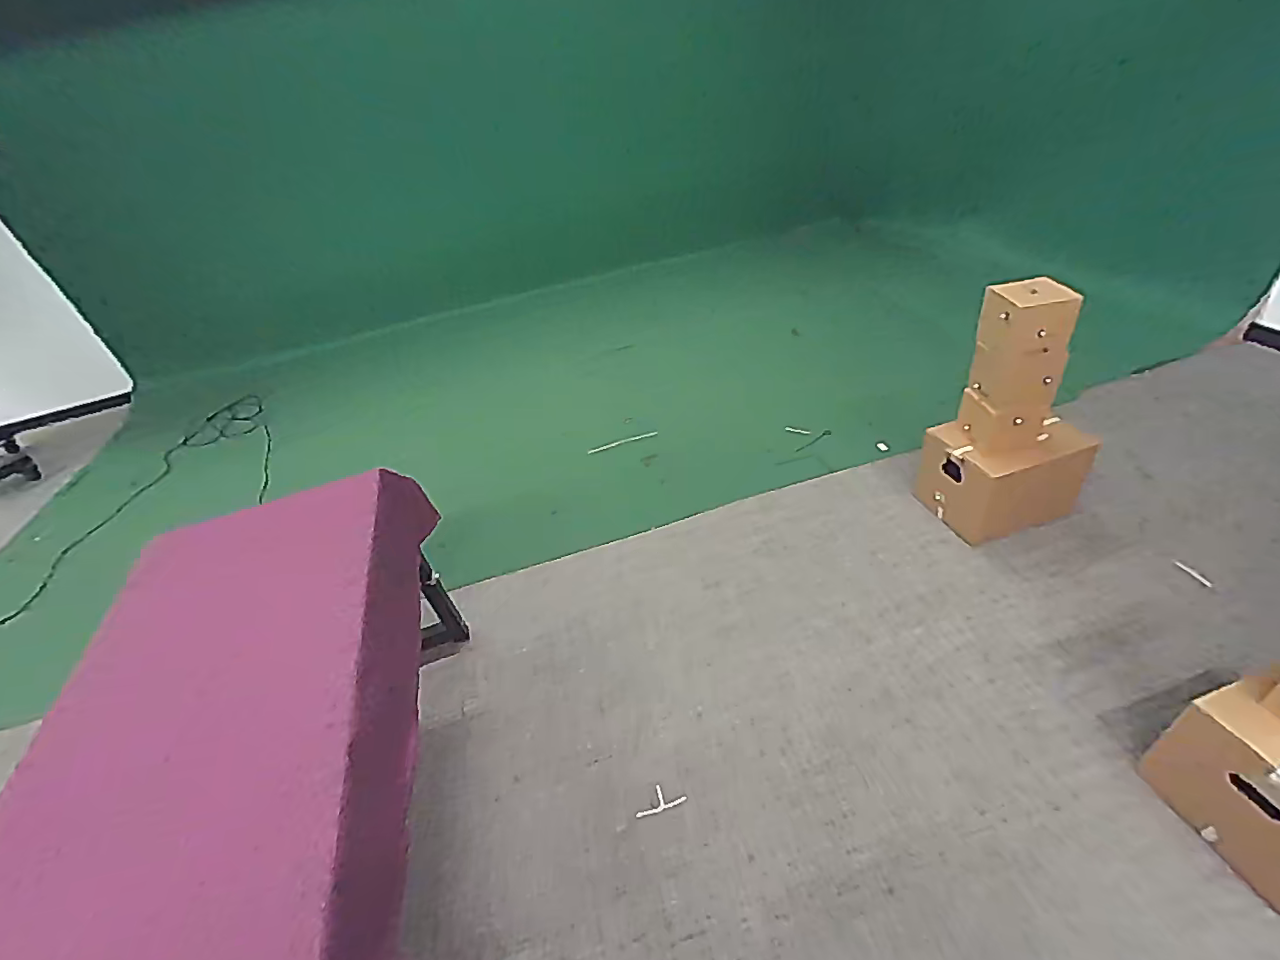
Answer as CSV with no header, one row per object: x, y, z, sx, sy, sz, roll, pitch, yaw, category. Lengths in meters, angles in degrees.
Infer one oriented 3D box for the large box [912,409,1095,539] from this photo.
1.257,-0.047,1.914,0.408,0.320,0.320,-17,39,-7,large box

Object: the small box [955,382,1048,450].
1.167,-0.220,1.761,0.179,0.176,0.168,-11,38,2,small box

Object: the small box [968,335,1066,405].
1.149,-0.350,1.665,0.179,0.176,0.168,-9,38,5,small box

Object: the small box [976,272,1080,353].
1.116,-0.480,1.569,0.168,0.176,0.179,-8,38,5,small box
